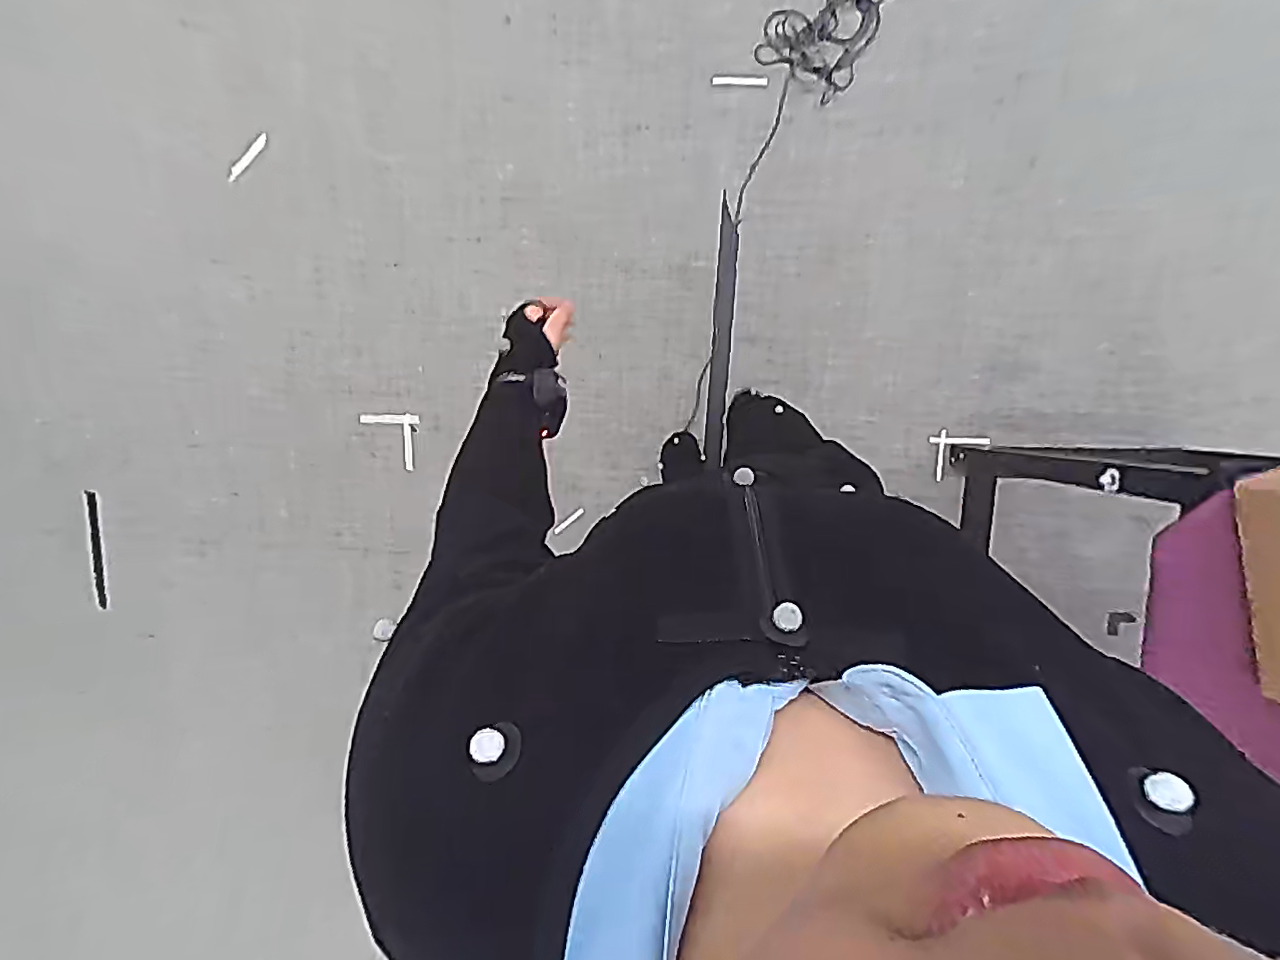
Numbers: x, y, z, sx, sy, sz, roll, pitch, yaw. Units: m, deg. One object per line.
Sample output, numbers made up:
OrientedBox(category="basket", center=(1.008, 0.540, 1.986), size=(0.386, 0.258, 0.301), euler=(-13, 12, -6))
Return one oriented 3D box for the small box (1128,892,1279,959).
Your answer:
OrientedBox(category="small box", center=(0.800, 0.683, 0.699), size=(0.179, 0.176, 0.168), euler=(8, 98, 4))
